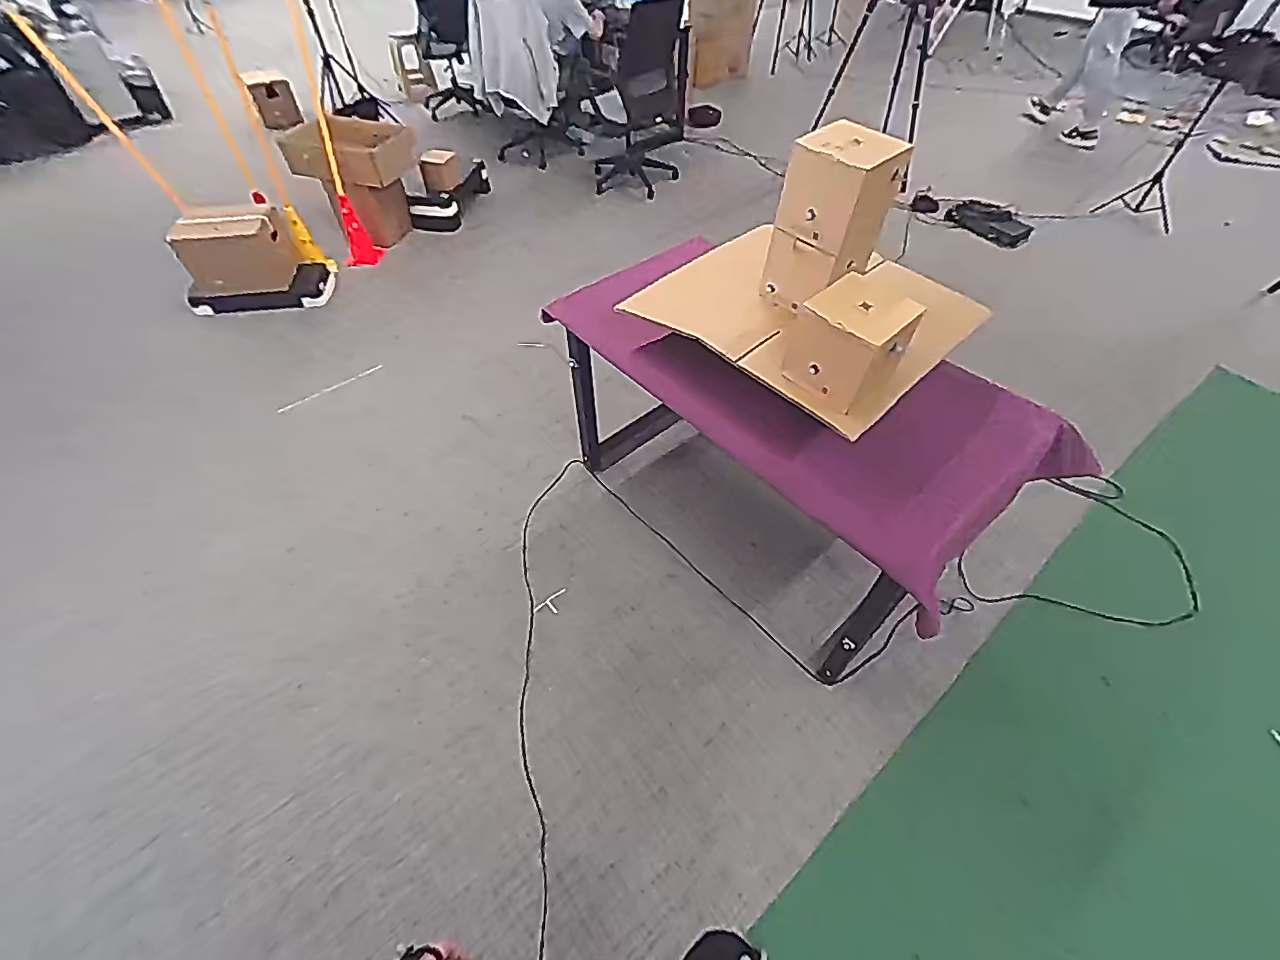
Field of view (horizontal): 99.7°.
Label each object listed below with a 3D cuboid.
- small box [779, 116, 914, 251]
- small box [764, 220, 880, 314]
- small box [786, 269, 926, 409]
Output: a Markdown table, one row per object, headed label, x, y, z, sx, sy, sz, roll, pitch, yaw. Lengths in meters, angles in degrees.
| label | x | y | z | sx | sy | sz | roll | pitch | yaw |
| --- | --- | --- | --- | --- | --- | --- | --- | --- | --- |
| small box | 0.407 | -0.598 | 1.095 | 0.179 | 0.176 | 0.168 | -37 | 62 | -25 |
| small box | 0.400 | -0.497 | 1.224 | 0.179 | 0.176 | 0.168 | -36 | 63 | -26 |
| small box | 0.411 | -0.273 | 1.057 | 0.179 | 0.176 | 0.168 | -37 | 62 | -25 |
